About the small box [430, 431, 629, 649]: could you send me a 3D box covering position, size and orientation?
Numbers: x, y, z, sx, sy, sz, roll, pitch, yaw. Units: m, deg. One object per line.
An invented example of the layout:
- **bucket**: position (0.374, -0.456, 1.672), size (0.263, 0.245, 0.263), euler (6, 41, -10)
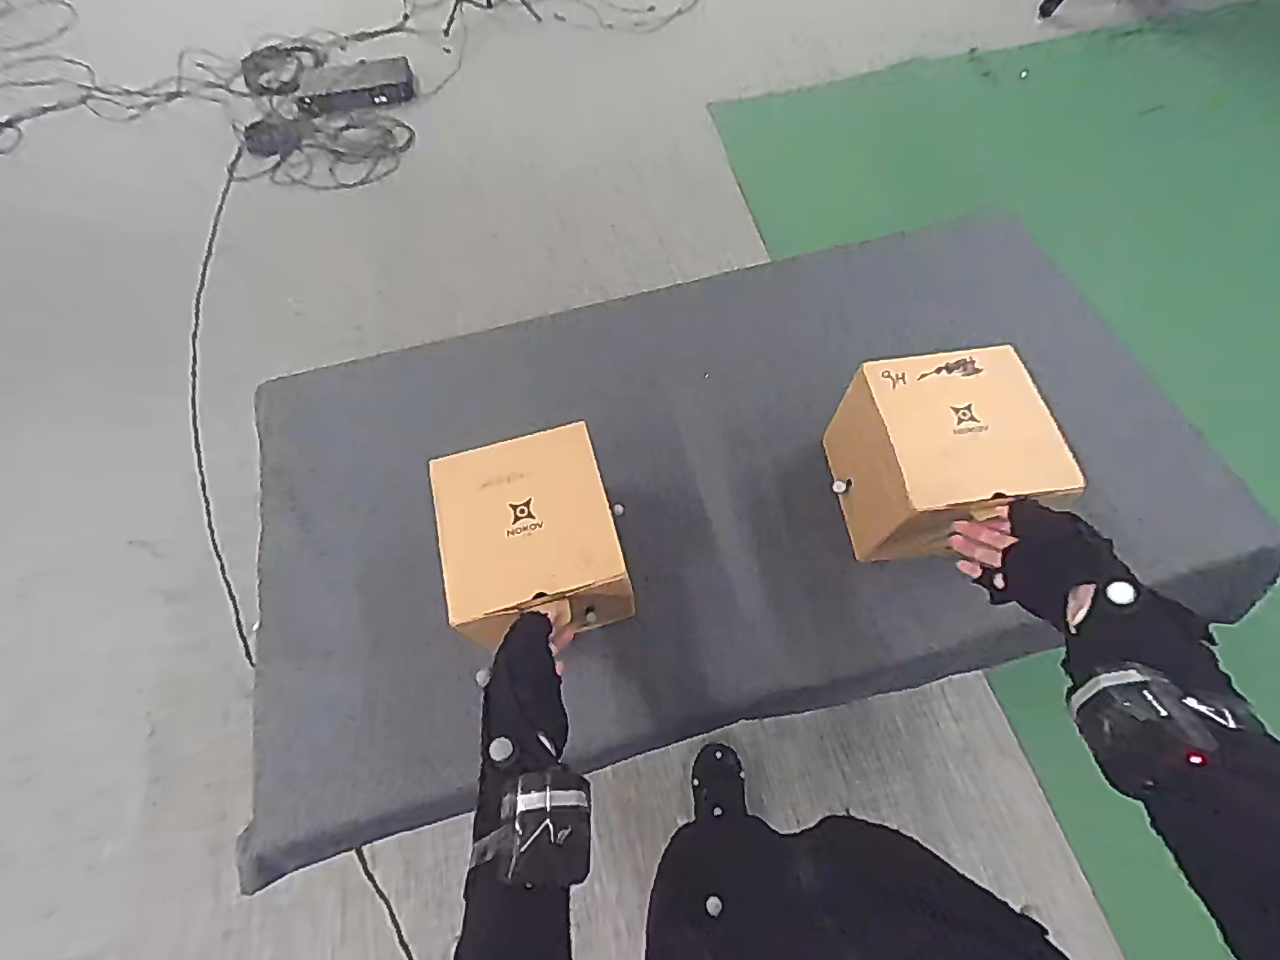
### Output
- **small box**: position (-0.113, 0.078, 0.602), size (0.168, 0.176, 0.179), euler (-16, 63, -6)

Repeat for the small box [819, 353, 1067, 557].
- **small box**: position (0.324, -0.017, 0.623), size (0.168, 0.176, 0.179), euler (-7, 65, -1)
